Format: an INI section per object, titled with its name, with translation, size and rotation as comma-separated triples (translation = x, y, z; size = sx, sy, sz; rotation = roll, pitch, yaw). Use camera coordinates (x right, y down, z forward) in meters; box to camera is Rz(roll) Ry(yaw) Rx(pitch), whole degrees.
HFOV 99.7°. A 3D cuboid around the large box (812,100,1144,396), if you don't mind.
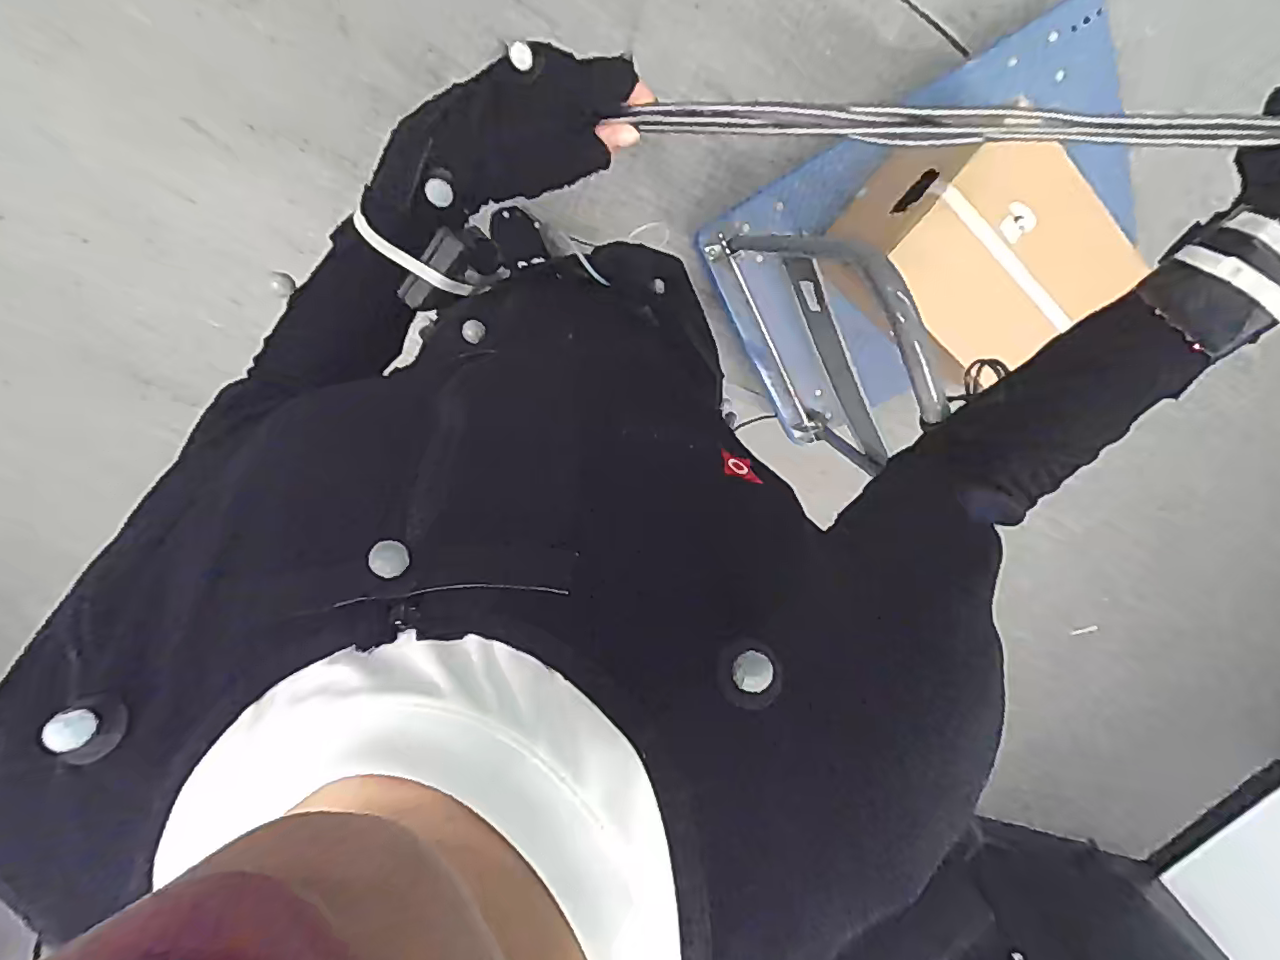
[large box]
translation = 0.627, -0.436, 1.064
size = 0.408, 0.320, 0.320
rotation = 34, 109, -19
